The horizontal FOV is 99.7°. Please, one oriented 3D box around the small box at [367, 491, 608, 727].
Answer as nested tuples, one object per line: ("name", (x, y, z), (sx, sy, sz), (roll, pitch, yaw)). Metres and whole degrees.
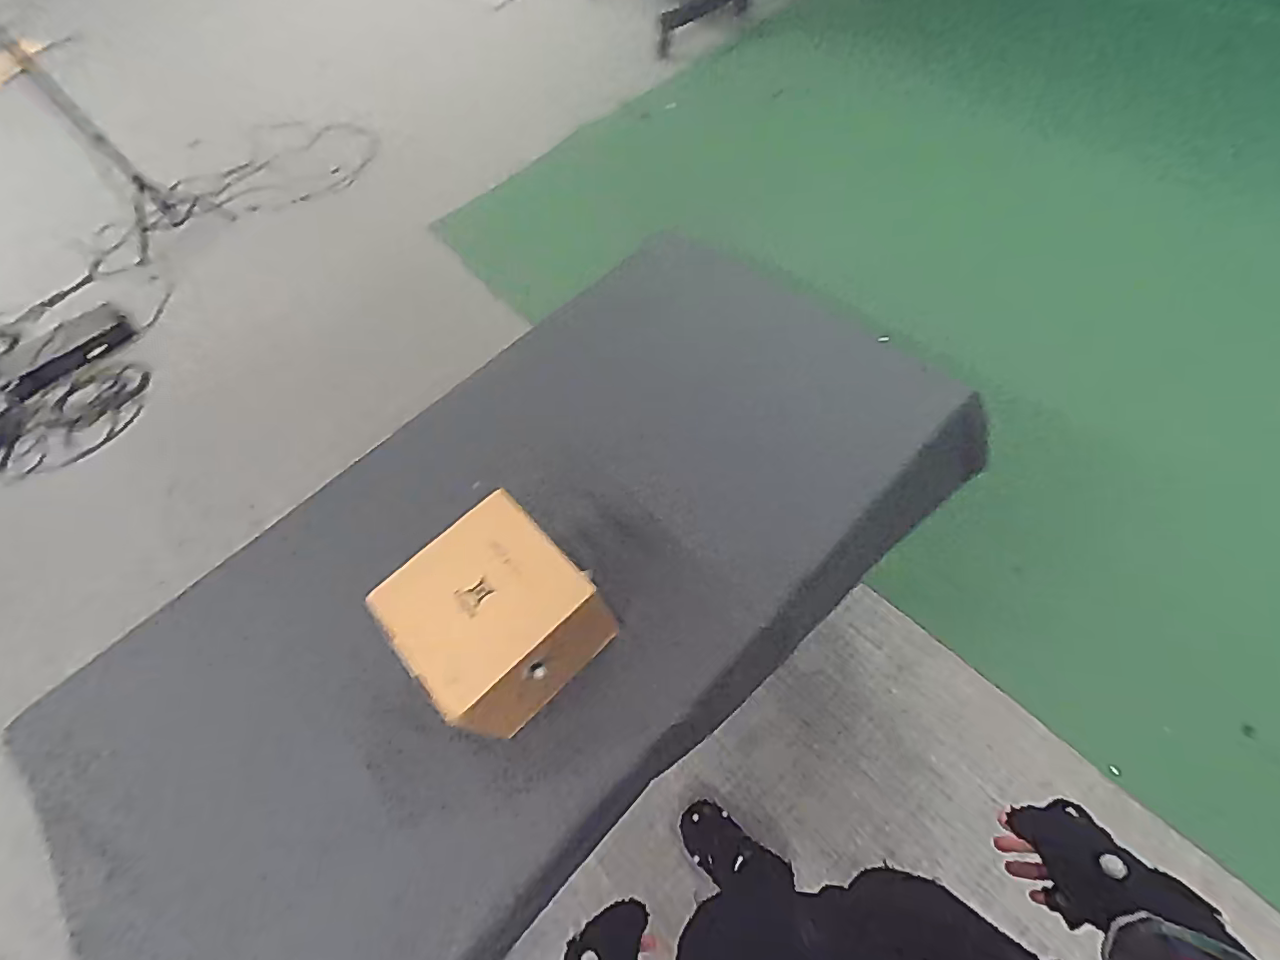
("small box", (-0.155, 0.152, 0.608), (0.179, 0.176, 0.168), (-42, 65, -16))
